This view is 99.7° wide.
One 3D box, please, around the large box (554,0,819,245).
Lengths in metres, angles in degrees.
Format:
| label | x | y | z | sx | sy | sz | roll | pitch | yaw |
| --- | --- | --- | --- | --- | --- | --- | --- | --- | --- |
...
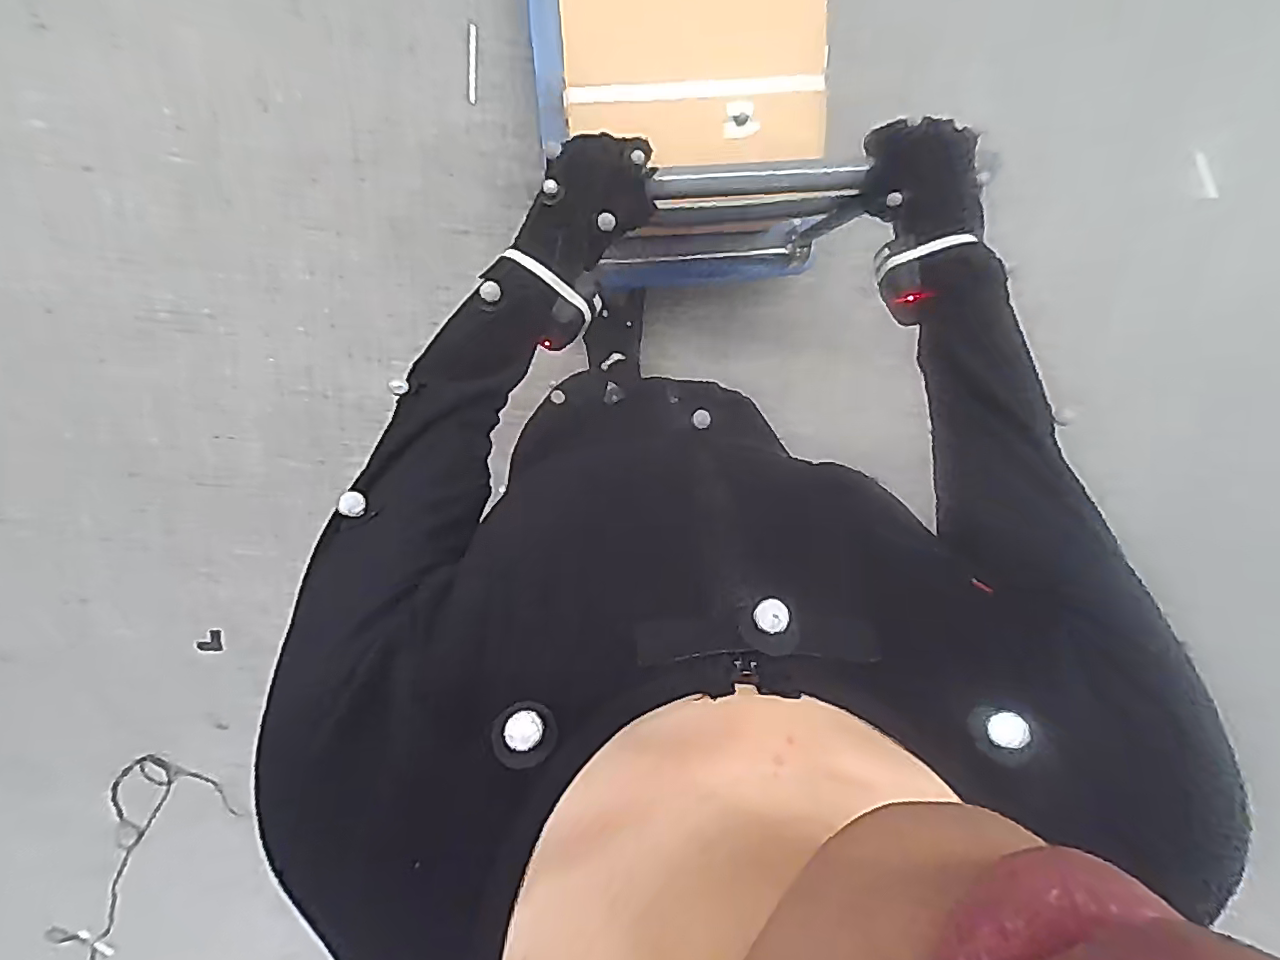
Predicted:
| label | x | y | z | sx | sy | sz | roll | pitch | yaw |
| --- | --- | --- | --- | --- | --- | --- | --- | --- | --- |
| large box | 0.071 | -0.629 | 0.981 | 0.408 | 0.320 | 0.320 | -5 | 106 | -3 |
